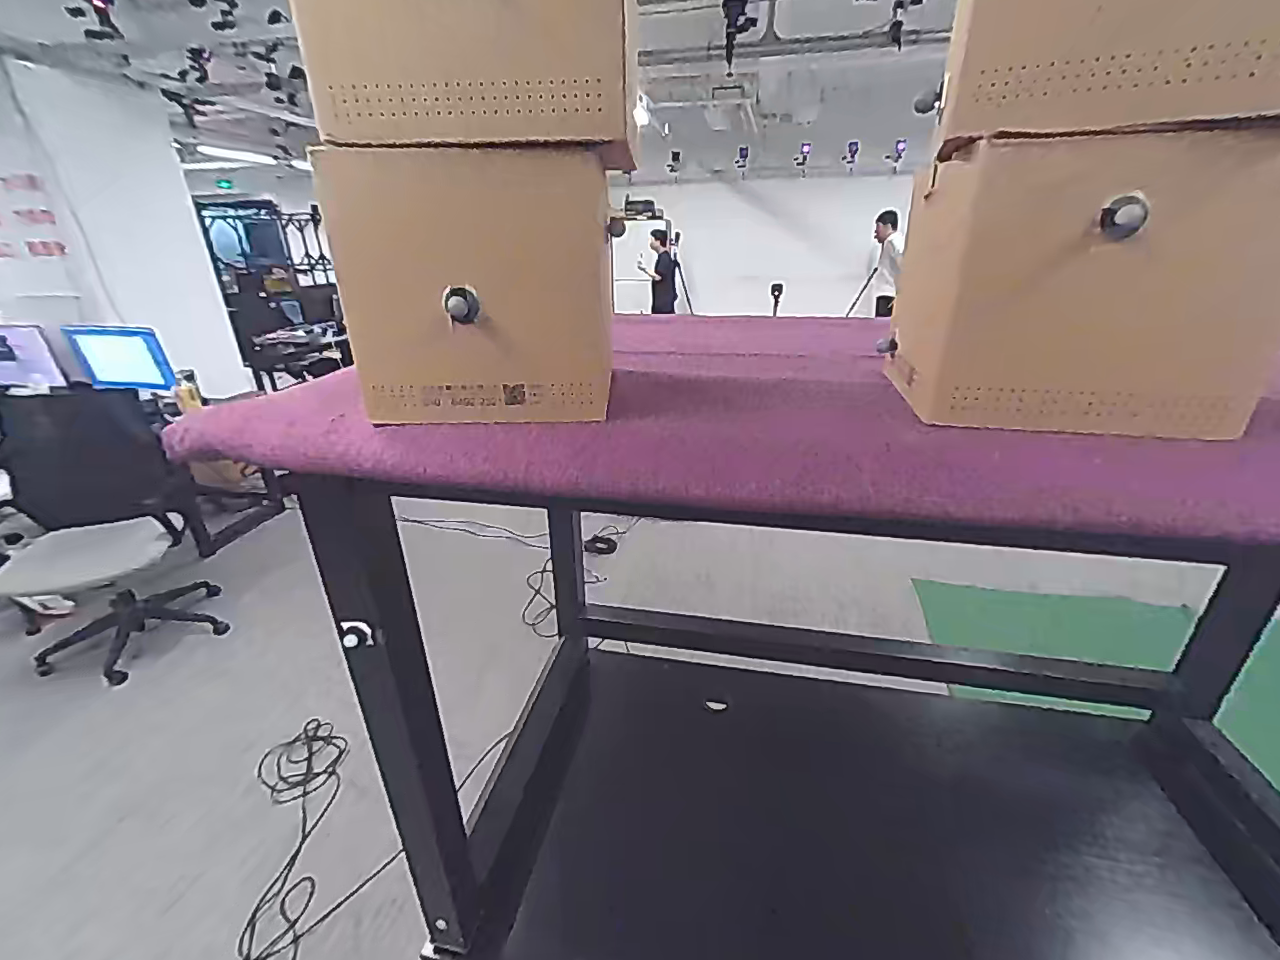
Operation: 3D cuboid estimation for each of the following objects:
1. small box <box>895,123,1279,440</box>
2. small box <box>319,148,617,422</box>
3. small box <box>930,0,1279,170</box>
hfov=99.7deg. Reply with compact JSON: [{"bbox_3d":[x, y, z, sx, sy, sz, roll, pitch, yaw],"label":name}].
[{"bbox_3d":[0.292,-0.133,0.379,0.179,0.176,0.168,5,25,12],"label":"small box"},{"bbox_3d":[-0.104,-0.148,0.418,0.168,0.176,0.179,0,25,-1],"label":"small box"},{"bbox_3d":[0.285,-0.282,0.314,0.179,0.176,0.168,8,25,21],"label":"small box"}]
